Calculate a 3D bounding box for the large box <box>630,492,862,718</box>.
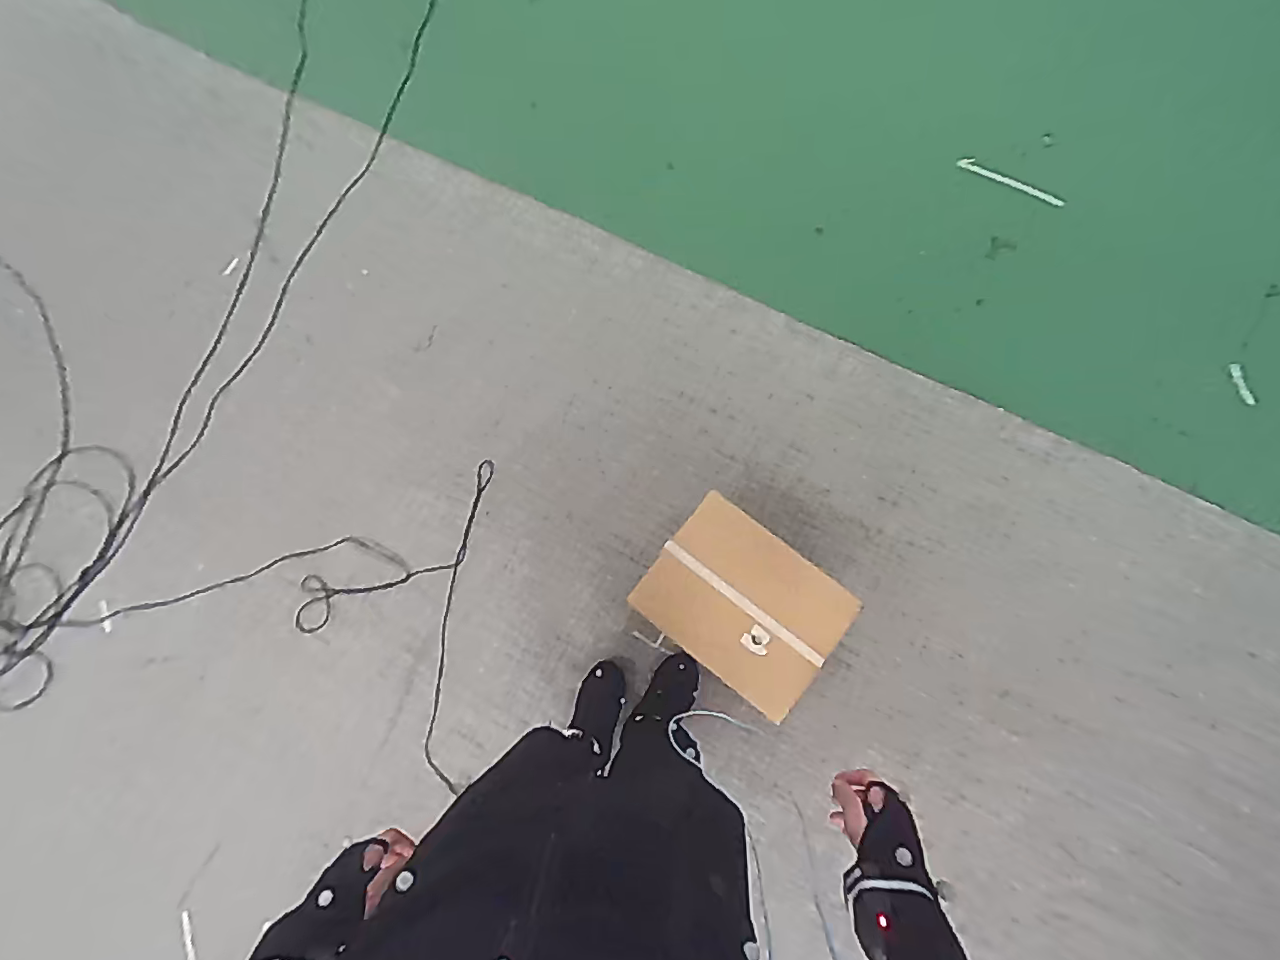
[{"bbox_3d":[0.229,0.285,1.300,0.408,0.320,0.320,37,84,9],"label":"large box"}]
